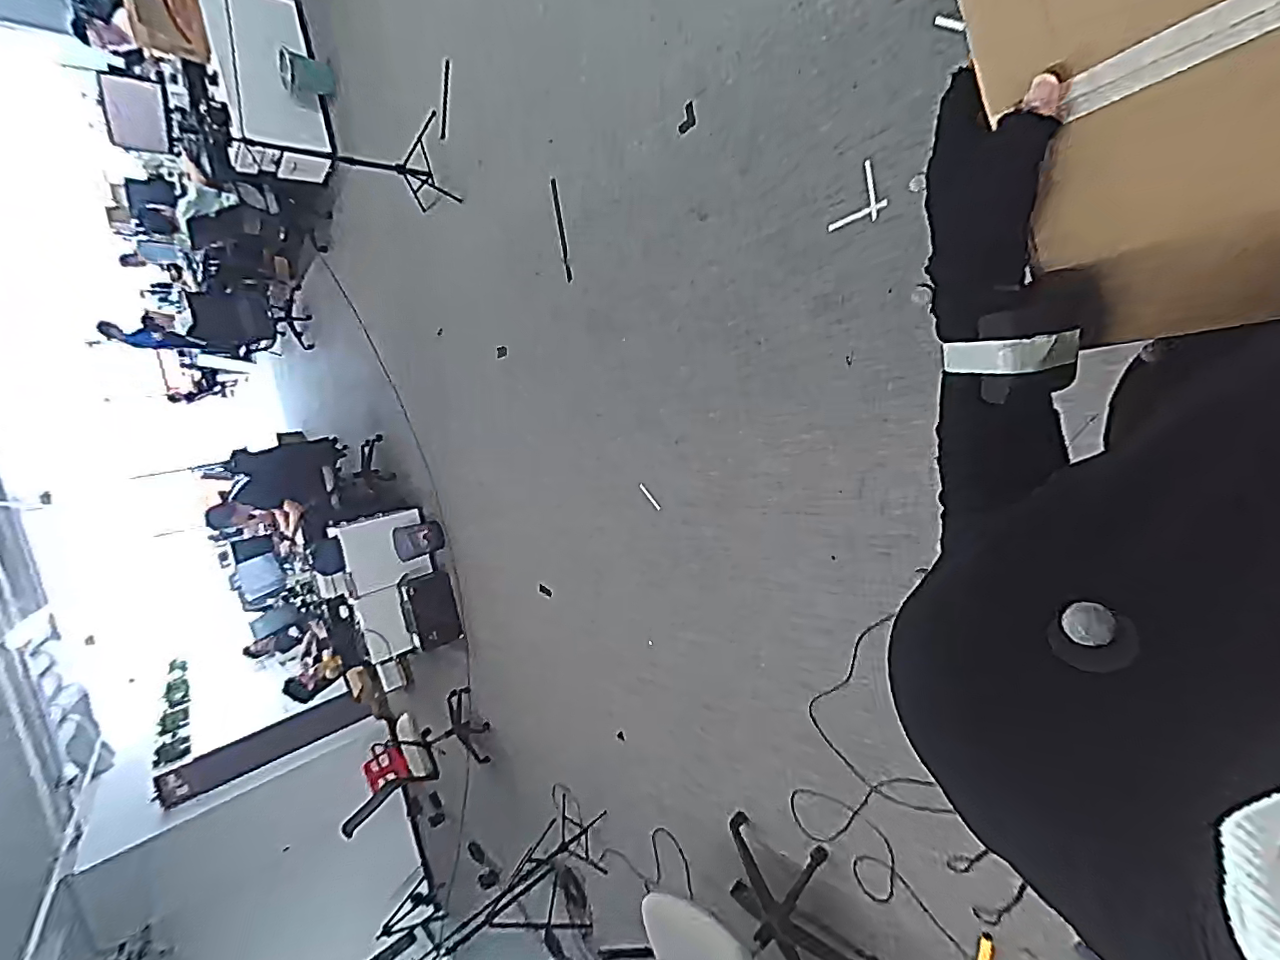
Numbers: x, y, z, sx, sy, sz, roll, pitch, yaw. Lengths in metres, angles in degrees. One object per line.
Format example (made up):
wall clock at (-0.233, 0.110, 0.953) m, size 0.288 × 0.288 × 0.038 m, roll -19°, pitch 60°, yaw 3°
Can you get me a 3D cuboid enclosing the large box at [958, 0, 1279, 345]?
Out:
large box at (0.436, -0.311, 0.254) m, size 0.408 × 0.320 × 0.320 m, roll -1°, pitch 128°, yaw 54°
